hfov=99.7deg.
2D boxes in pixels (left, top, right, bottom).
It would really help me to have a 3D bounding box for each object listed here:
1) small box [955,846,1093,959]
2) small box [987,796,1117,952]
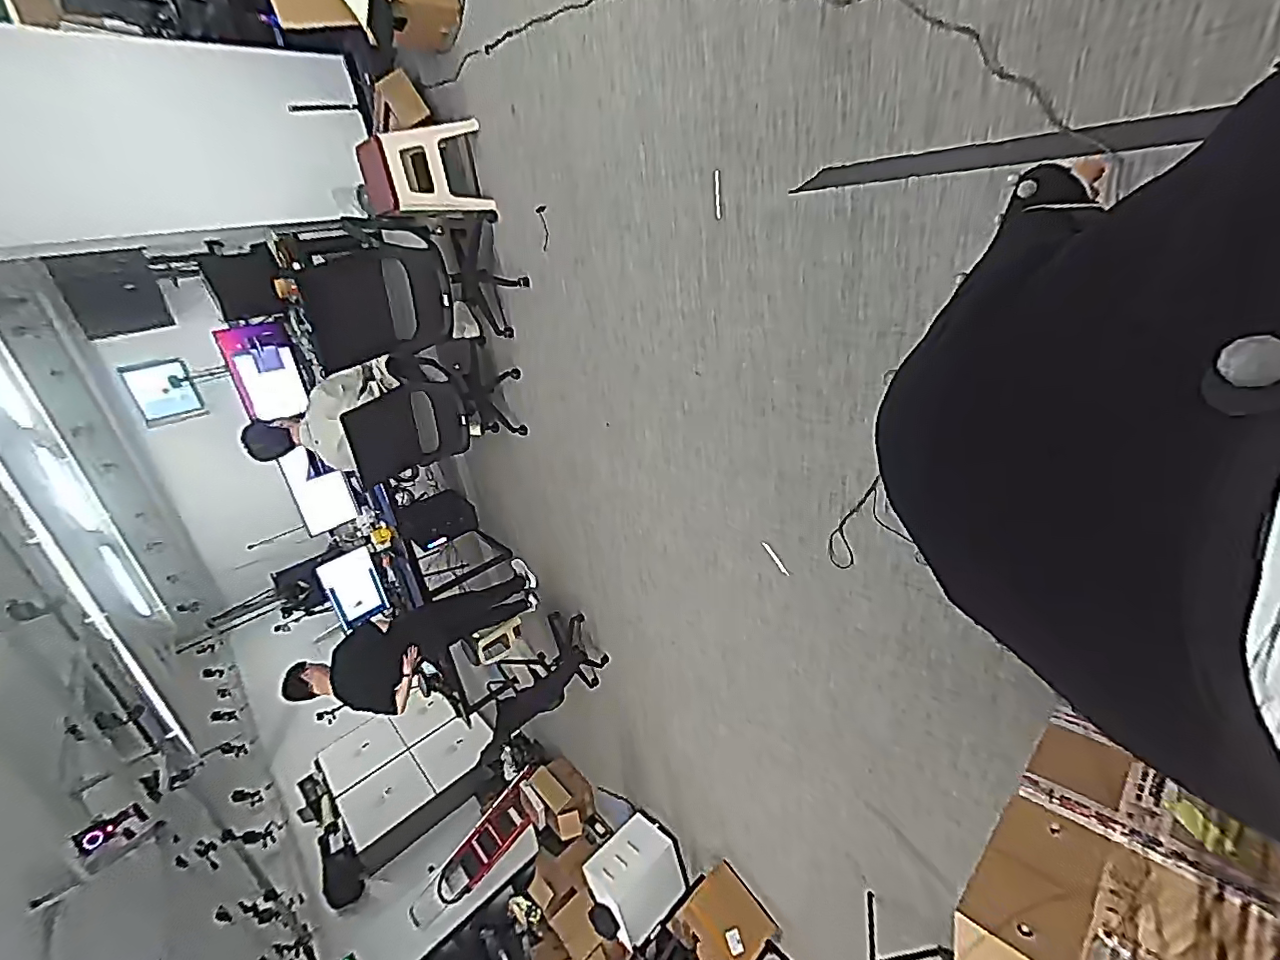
[{"bbox_3d":[0.714,0.840,1.008,0.179,0.176,0.168,11,116,49],"label":"small box"},{"bbox_3d":[0.837,0.793,1.108,0.179,0.176,0.168,11,117,49],"label":"small box"}]
